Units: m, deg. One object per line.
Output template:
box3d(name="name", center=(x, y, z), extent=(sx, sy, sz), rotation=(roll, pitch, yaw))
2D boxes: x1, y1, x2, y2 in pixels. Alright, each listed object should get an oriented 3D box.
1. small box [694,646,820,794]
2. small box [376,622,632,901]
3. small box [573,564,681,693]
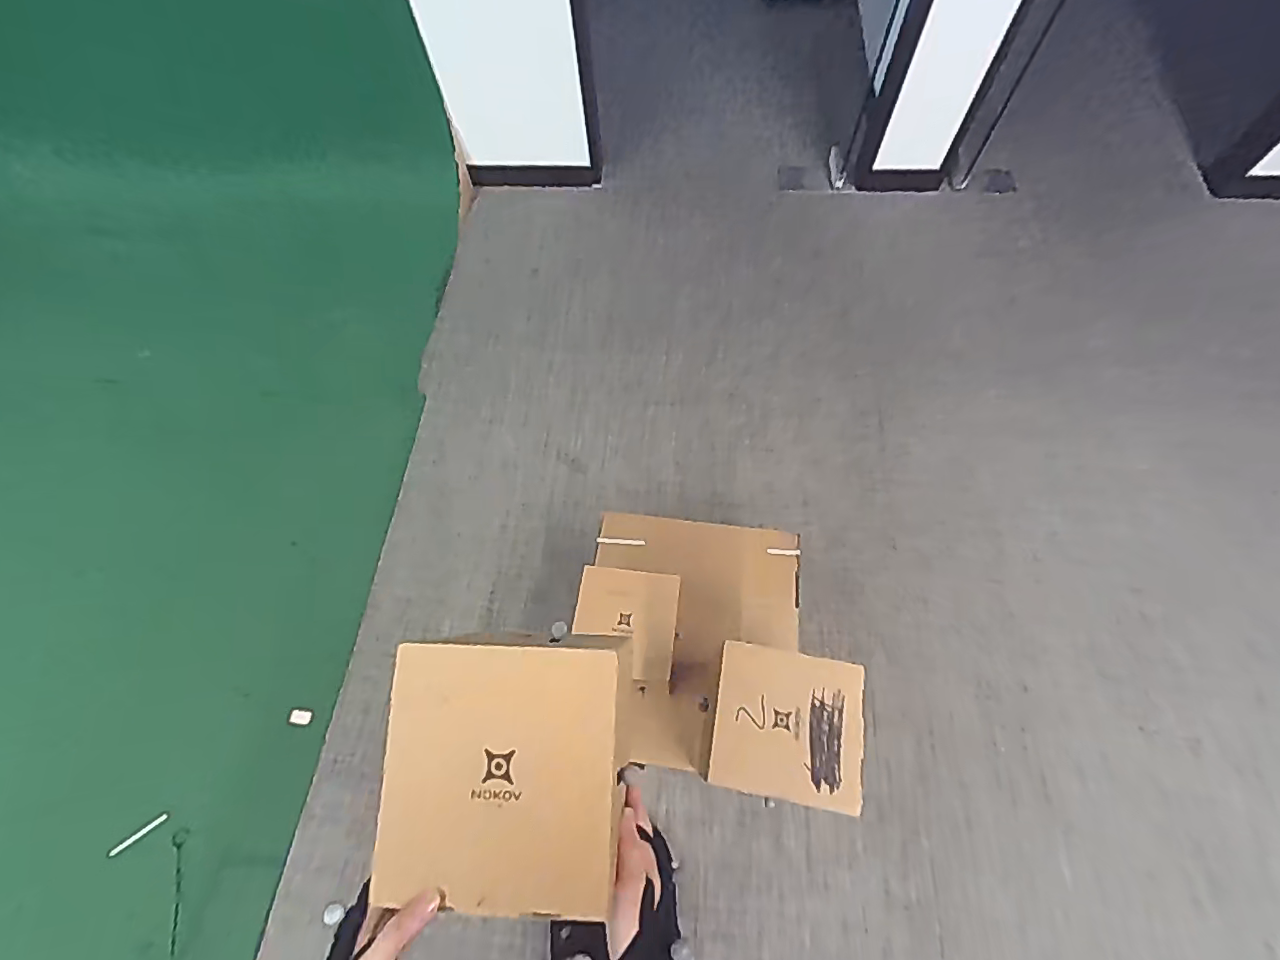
box3d(name="small box", center=(0.180, 0.383, 0.865), extent=(0.168, 0.176, 0.179), rotation=(9, 64, 6))
box3d(name="small box", center=(-0.096, 0.217, 0.467), extent=(0.168, 0.176, 0.179), rotation=(1, 78, 3))
box3d(name="small box", center=(-0.021, 0.263, 0.936), extent=(0.168, 0.176, 0.179), rotation=(6, 63, 6))
